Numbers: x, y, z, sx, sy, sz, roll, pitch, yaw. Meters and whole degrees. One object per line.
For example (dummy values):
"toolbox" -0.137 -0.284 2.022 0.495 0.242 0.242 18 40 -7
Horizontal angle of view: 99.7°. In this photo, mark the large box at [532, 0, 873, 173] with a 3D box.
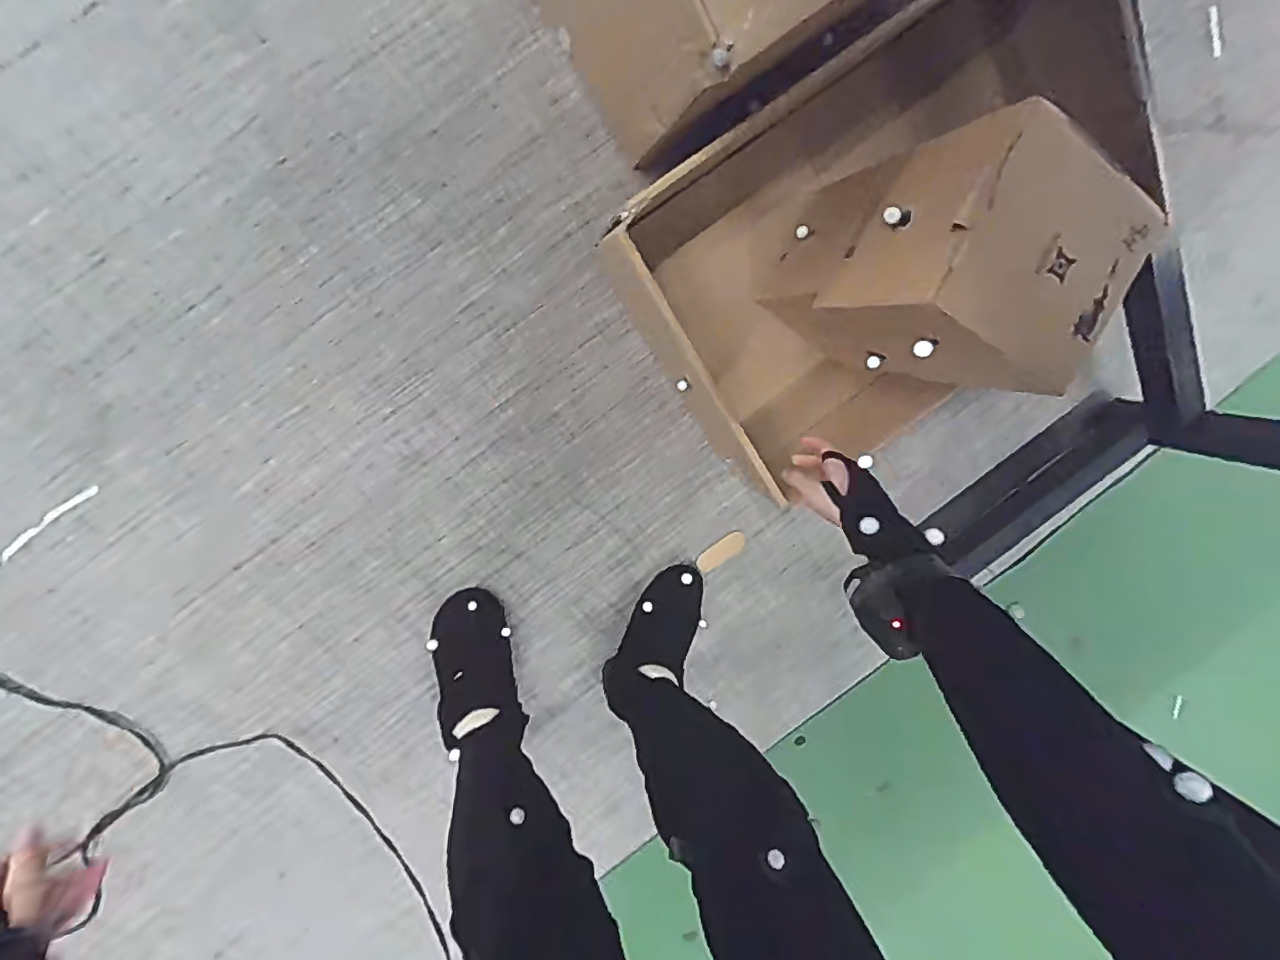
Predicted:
"large box" 0.102 -0.577 0.506 0.408 0.320 0.320 -36 111 -1

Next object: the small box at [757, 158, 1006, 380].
"small box" 0.280 -0.242 0.658 0.179 0.176 0.168 29 95 -19
